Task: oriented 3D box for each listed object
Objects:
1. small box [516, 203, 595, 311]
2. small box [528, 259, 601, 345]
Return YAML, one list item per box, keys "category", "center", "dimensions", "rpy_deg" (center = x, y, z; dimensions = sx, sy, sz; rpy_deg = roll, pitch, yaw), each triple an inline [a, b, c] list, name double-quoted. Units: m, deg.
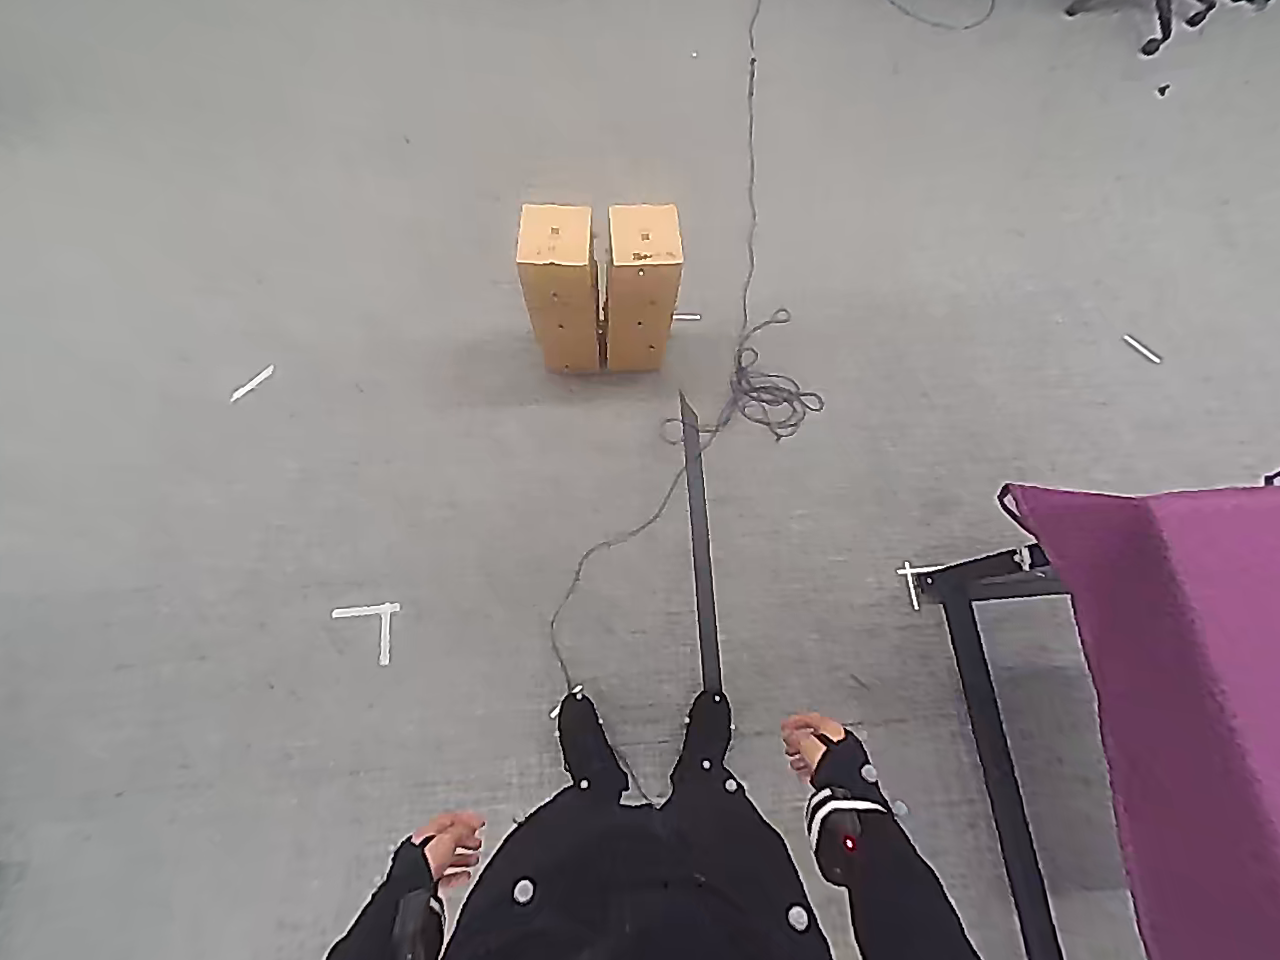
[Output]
- category: "small box"
  center: [-0.198, -0.541, 1.319]
  dimensions: [0.168, 0.176, 0.179]
  rpy_deg: [2, 72, -1]
- category: "small box"
  center: [-0.198, -0.482, 1.473]
  dimensions: [0.179, 0.176, 0.168]
  rpy_deg: [1, 72, 0]
